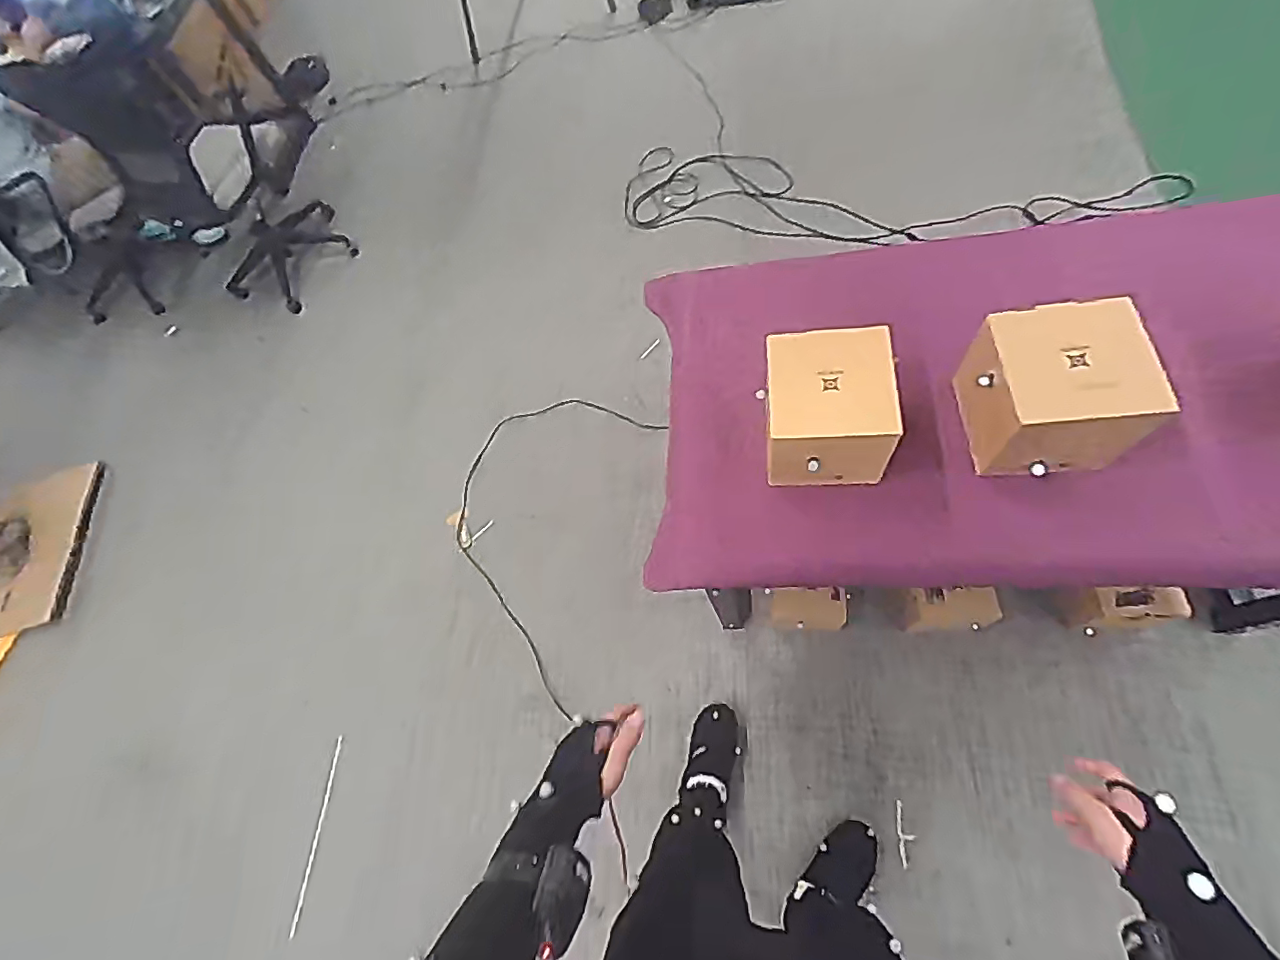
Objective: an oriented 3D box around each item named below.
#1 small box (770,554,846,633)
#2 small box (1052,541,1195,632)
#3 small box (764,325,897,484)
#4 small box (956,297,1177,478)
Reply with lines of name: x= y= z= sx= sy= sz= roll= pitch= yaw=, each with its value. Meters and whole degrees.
small box: x=0.431 y=0.296 z=1.398 sx=0.179 sy=0.176 sz=0.168 roll=0 pitch=66 yaw=15
small box: x=1.101 y=0.252 z=1.249 sx=0.168 sy=0.176 sz=0.179 roll=-5 pitch=64 yaw=12
small box: x=0.271 y=-0.100 z=0.802 sx=0.168 sy=0.176 sz=0.179 roll=-2 pitch=65 yaw=14
small box: x=0.556 y=-0.118 z=0.739 sx=0.168 sy=0.176 sz=0.179 roll=-4 pitch=66 yaw=13
